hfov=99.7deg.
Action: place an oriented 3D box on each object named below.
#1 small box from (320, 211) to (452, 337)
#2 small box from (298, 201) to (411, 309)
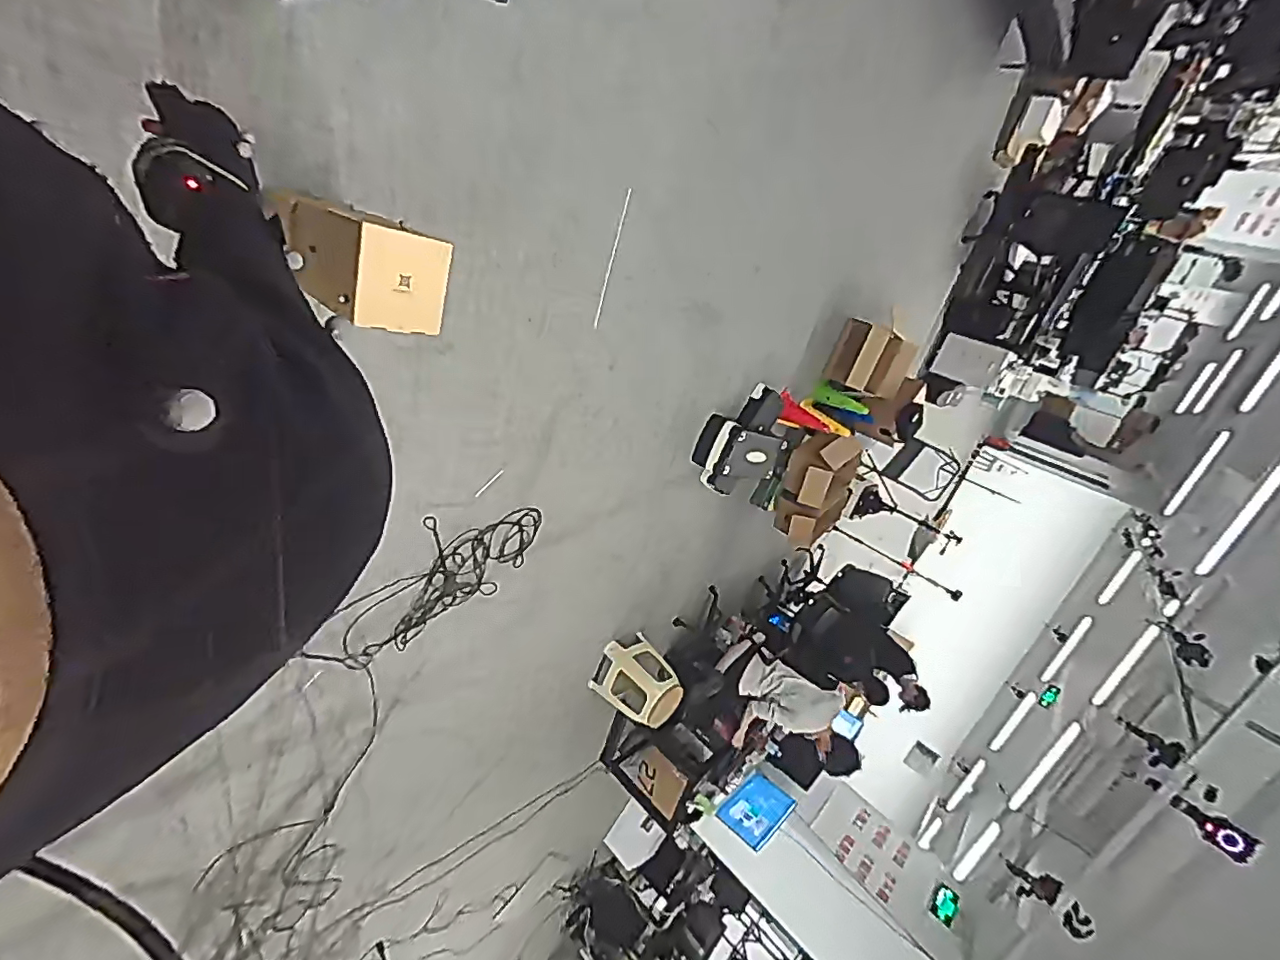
[{"bbox_3d":[-0.480,-0.385,1.015,0.168,0.176,0.179,-8,123,-48],"label":"small box"},{"bbox_3d":[-0.587,-0.455,1.117,0.168,0.176,0.179,-12,125,-47],"label":"small box"}]
